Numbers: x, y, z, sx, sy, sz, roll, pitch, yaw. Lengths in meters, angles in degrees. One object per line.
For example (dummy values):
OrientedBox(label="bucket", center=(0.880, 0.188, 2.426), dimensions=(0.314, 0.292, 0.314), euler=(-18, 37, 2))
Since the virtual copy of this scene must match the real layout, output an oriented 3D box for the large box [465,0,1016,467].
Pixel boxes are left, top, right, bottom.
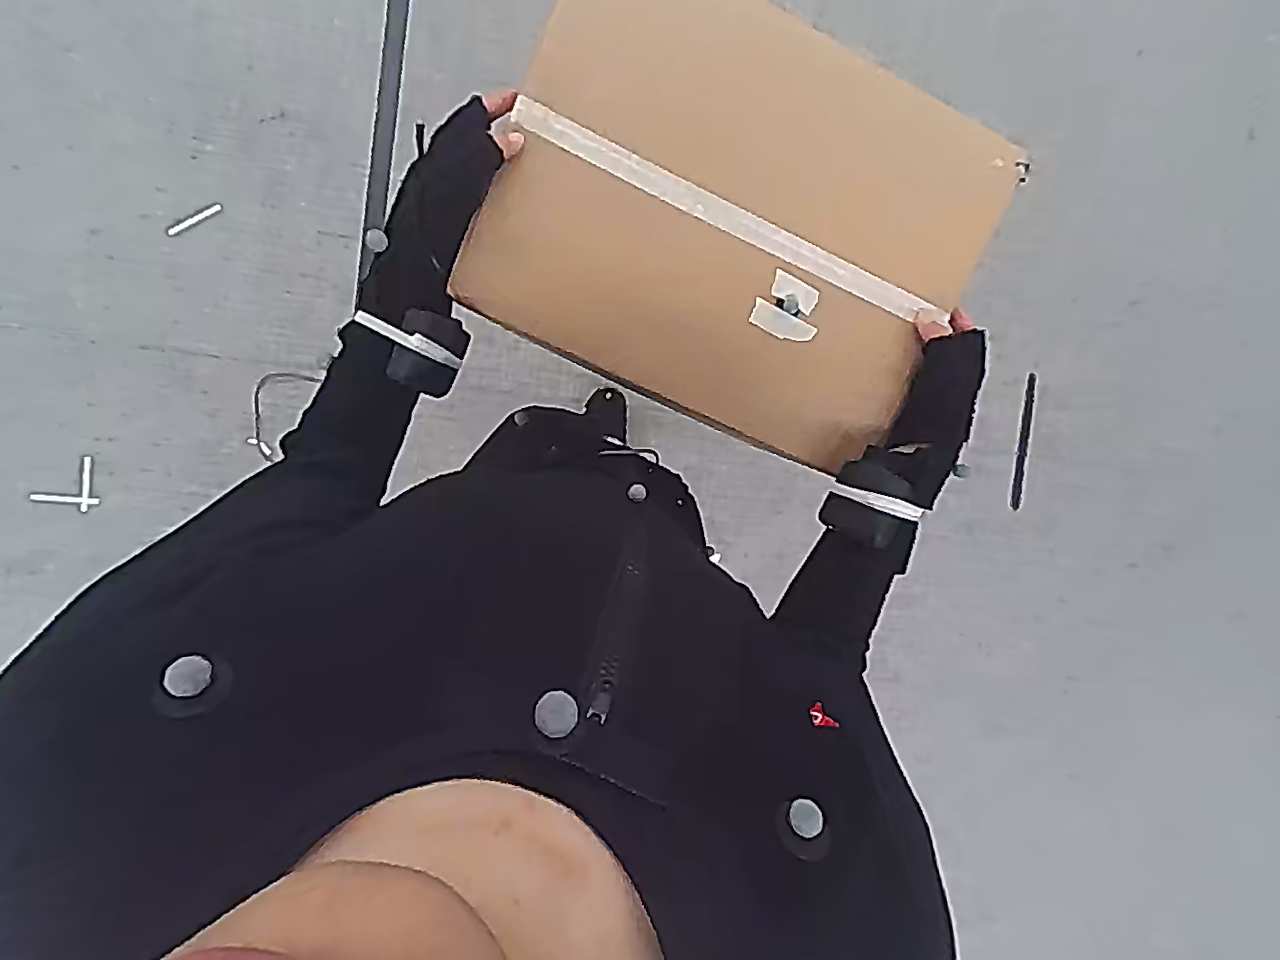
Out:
OrientedBox(label="large box", center=(0.078, -0.248, 0.611), dimensions=(0.408, 0.320, 0.320), euler=(24, 98, -8))
